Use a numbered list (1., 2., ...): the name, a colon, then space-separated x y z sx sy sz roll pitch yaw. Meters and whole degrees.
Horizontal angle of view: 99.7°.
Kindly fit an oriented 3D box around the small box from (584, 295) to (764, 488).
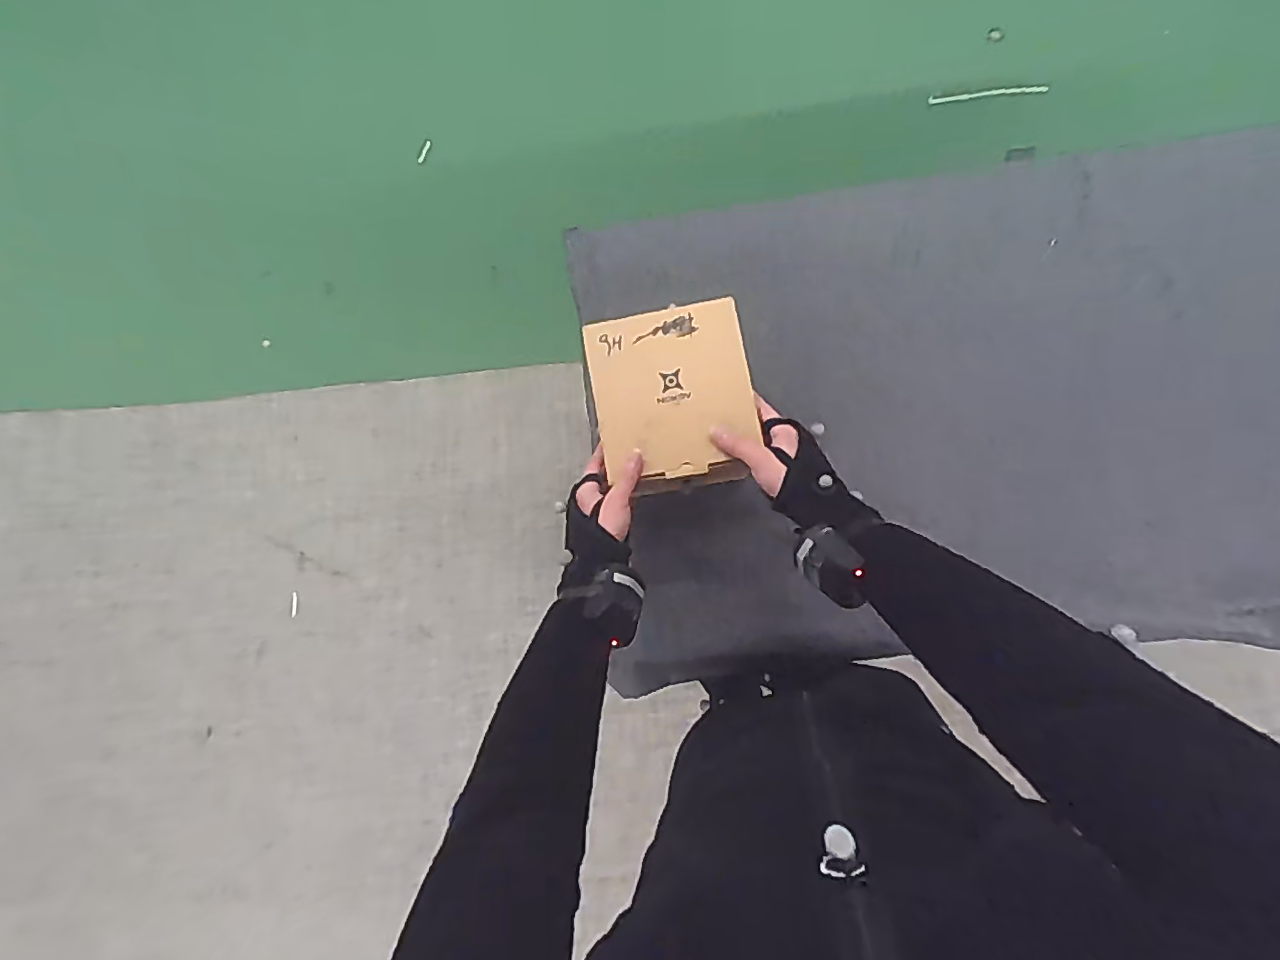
1. small box: 0.040 -0.088 0.639 0.168 0.176 0.179 -11 84 3
